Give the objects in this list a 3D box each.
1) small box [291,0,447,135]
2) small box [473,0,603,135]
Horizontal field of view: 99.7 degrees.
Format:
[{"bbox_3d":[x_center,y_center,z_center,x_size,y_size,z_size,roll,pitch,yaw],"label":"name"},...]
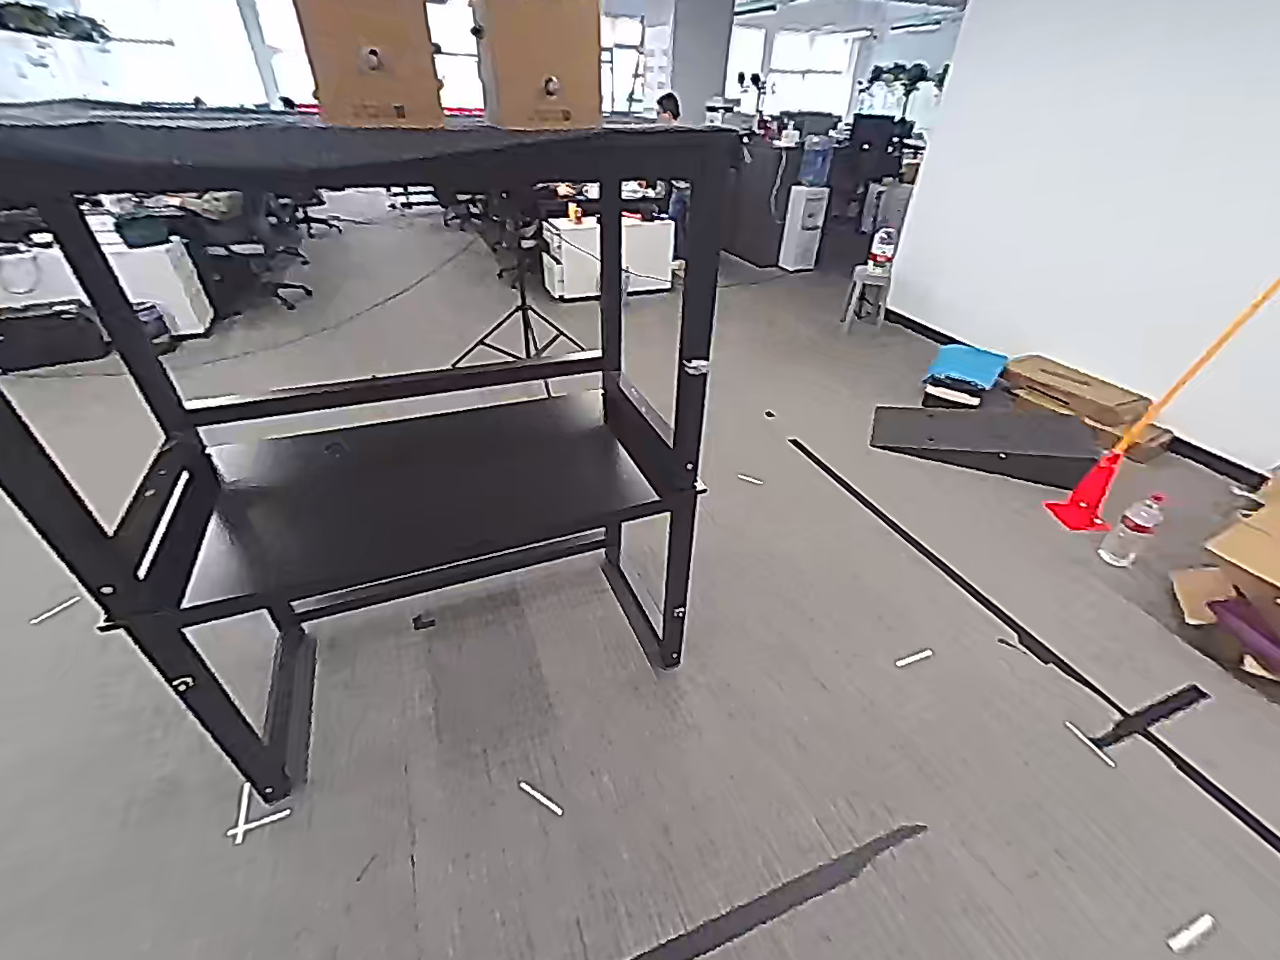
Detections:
[{"bbox_3d":[-0.384,-0.610,0.792,0.168,0.176,0.179,-10,37,-16],"label":"small box"},{"bbox_3d":[-0.162,-0.655,0.862,0.168,0.176,0.179,-12,37,-17],"label":"small box"}]
